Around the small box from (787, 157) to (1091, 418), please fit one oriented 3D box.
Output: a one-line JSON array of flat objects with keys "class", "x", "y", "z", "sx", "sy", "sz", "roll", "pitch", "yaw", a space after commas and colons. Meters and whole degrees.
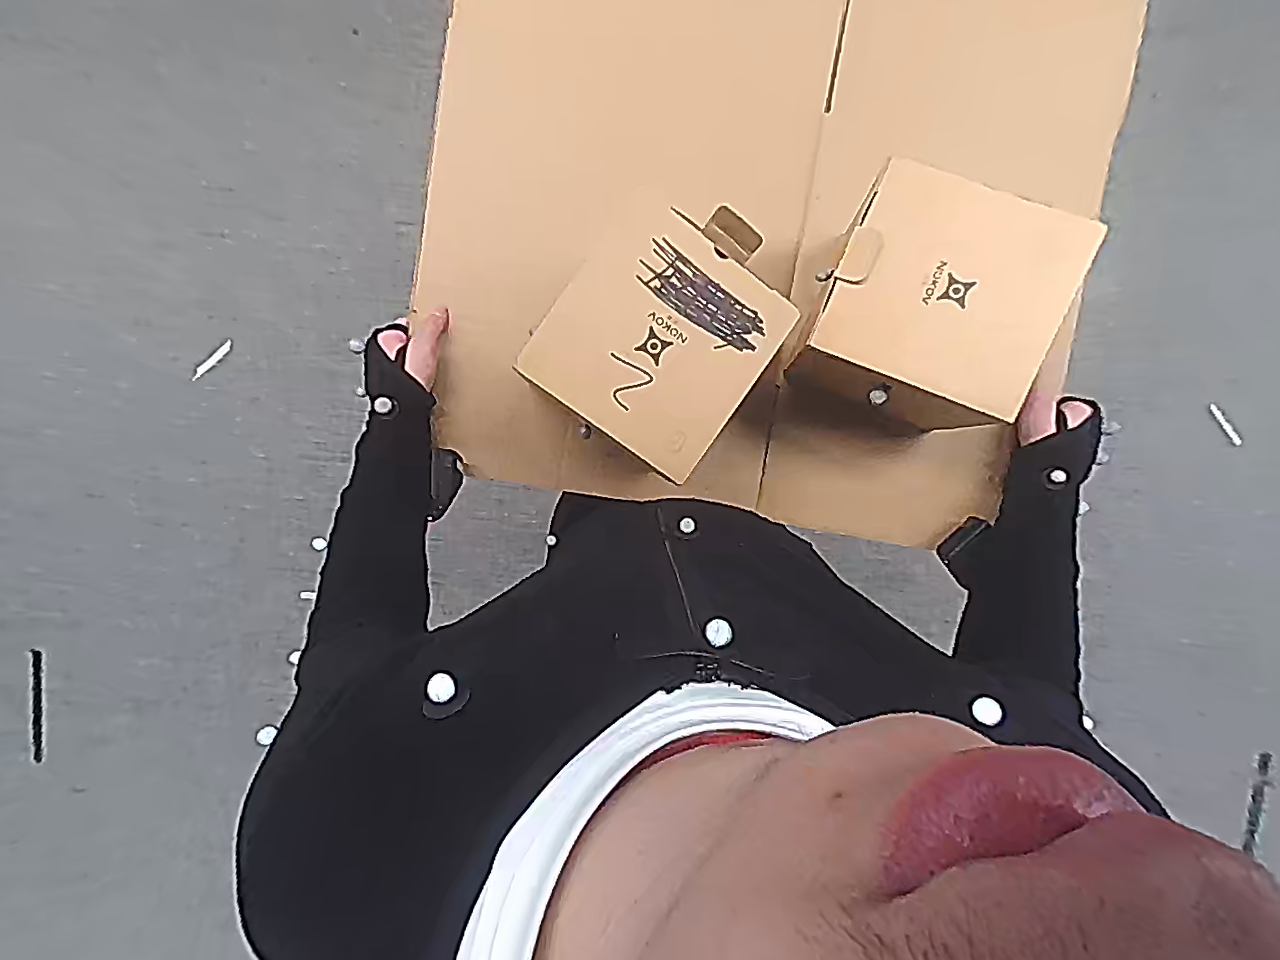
[{"class": "small box", "x": 0.262, "y": -0.166, "z": 0.526, "sx": 0.179, "sy": 0.176, "sz": 0.168, "roll": 23, "pitch": 96, "yaw": 7}]
